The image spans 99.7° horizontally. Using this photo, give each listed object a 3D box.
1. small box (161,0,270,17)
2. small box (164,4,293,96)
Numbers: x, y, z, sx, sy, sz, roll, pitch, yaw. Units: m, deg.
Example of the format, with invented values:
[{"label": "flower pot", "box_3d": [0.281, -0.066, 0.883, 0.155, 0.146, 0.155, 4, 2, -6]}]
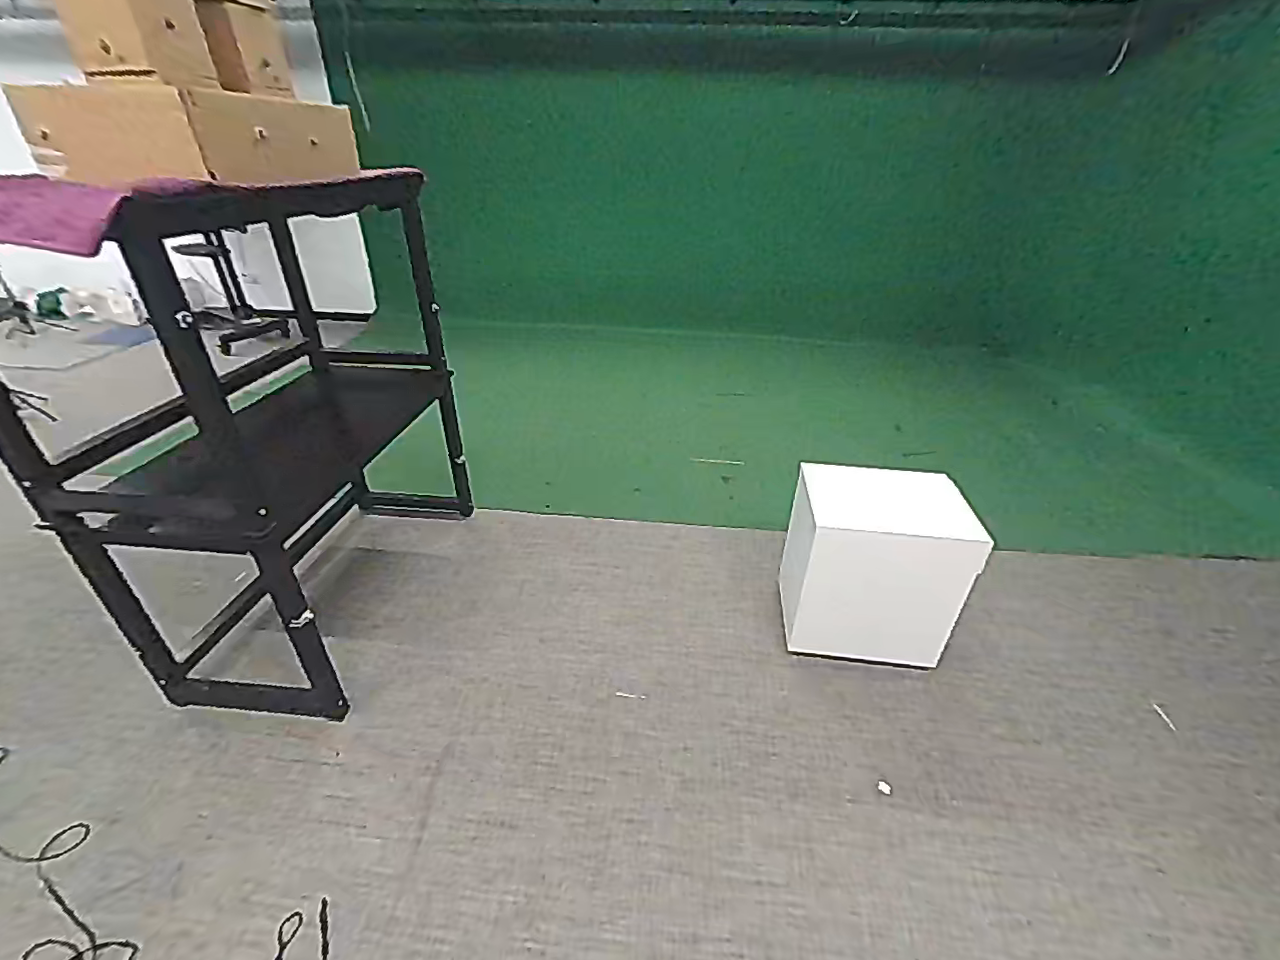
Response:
[{"label": "small box", "box_3d": [-1.046, -1.232, 1.298, 0.179, 0.176, 0.168, 5, 33, 7]}, {"label": "small box", "box_3d": [-1.050, -1.102, 1.396, 0.179, 0.176, 0.168, 4, 33, 6]}]
